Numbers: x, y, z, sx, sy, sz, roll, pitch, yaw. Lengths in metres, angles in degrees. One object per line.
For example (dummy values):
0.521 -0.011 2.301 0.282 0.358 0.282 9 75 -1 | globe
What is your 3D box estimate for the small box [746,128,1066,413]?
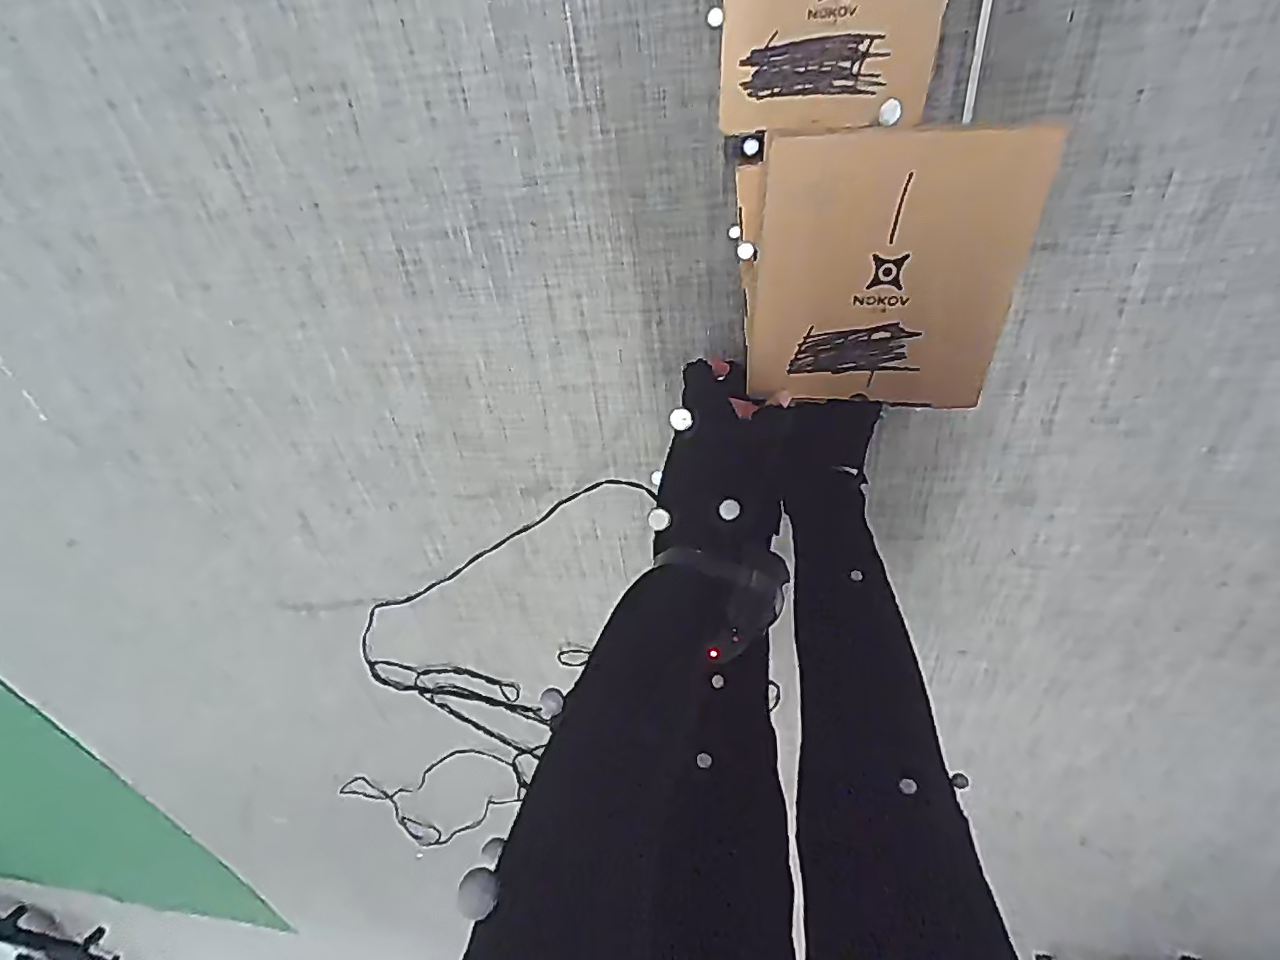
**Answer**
0.176 -0.171 0.426 0.168 0.176 0.179 4 123 9 | small box
